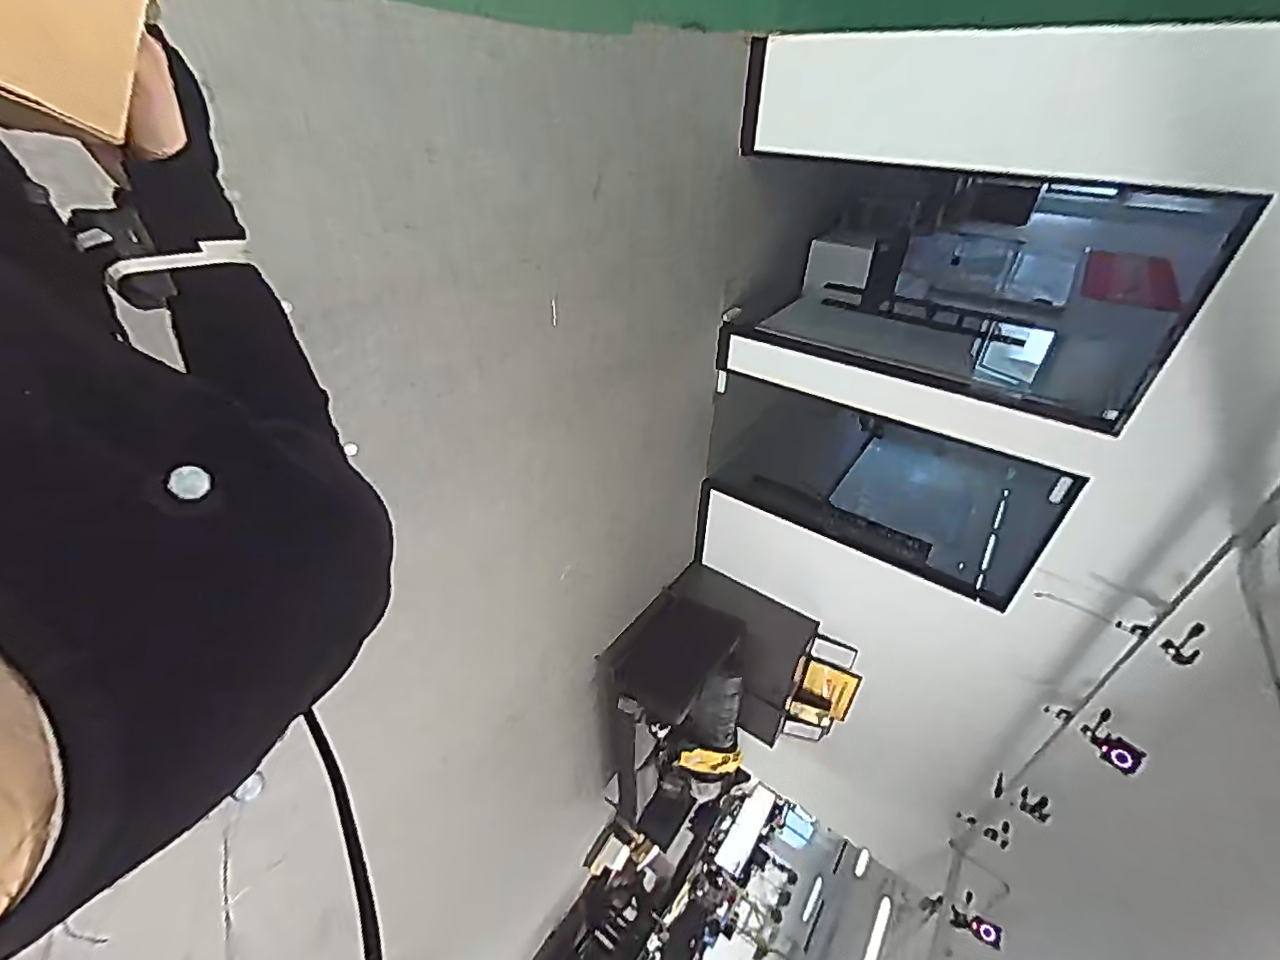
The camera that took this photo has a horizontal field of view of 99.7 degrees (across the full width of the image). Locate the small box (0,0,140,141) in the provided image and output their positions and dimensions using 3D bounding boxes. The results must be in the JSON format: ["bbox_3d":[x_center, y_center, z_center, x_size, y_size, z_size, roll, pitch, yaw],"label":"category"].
[{"bbox_3d":[-0.355,-0.287,0.231,0.168,0.176,0.179,2,108,-66],"label":"small box"}]
